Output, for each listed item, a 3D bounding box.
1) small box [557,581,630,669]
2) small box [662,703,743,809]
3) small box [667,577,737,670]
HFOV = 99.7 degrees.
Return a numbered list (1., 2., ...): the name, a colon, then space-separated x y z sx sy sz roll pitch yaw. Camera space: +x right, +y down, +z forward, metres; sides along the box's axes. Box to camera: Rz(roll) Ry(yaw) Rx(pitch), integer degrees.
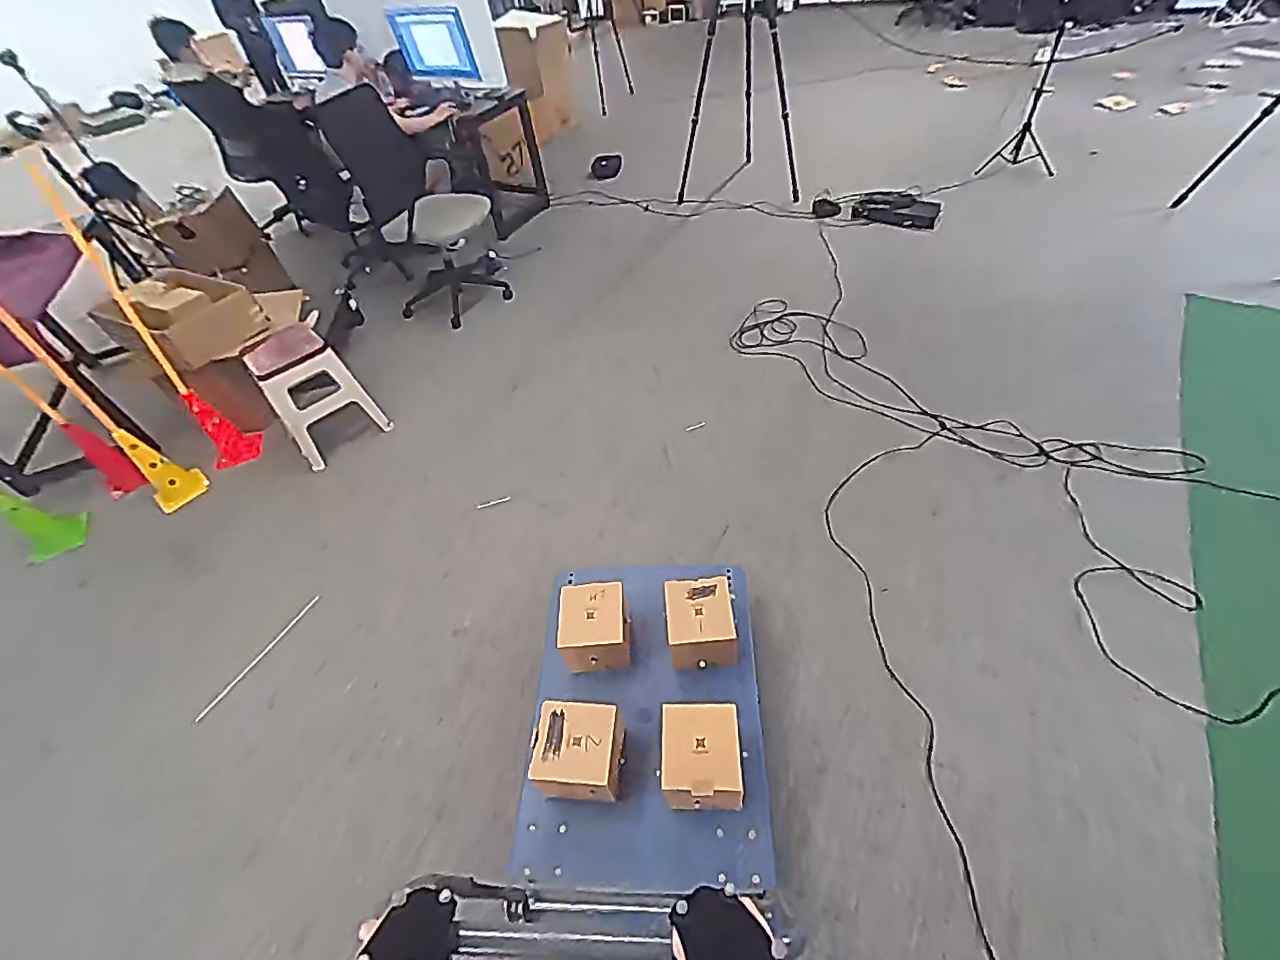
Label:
1. small box: -0.116 0.391 1.439 0.168 0.176 0.179 -4 48 3
2. small box: 0.136 0.617 1.208 0.168 0.176 0.179 -2 49 6
3. small box: 0.159 0.376 1.414 0.168 0.176 0.179 -6 49 4
